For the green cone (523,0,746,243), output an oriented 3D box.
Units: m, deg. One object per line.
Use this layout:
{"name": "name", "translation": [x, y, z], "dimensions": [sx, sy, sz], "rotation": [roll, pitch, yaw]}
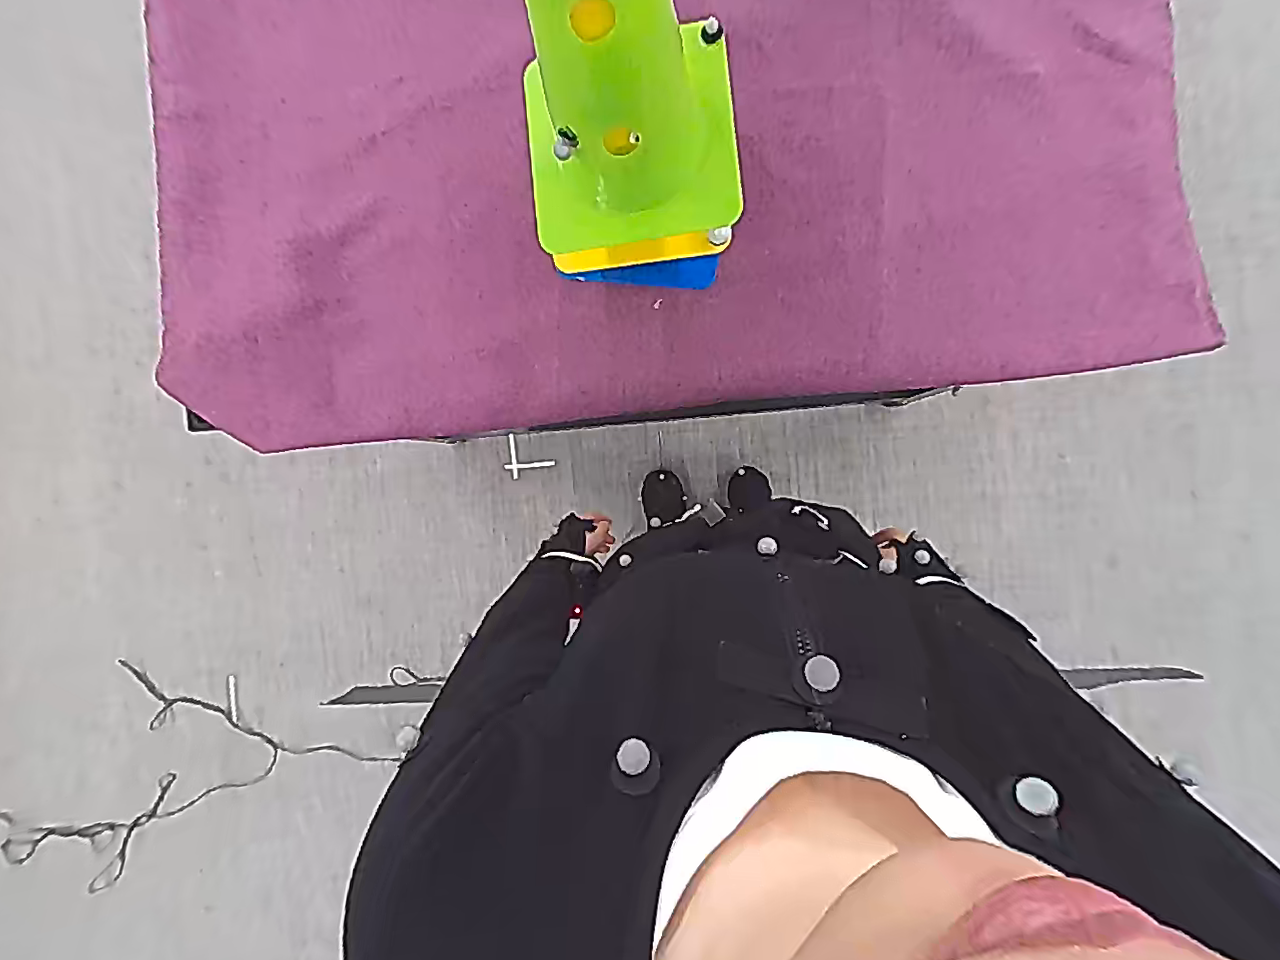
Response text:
{"name": "green cone", "translation": [-0.033, -0.335, 0.342], "dimensions": [0.200, 0.368, 0.202], "rotation": [-7, 89, 8]}
